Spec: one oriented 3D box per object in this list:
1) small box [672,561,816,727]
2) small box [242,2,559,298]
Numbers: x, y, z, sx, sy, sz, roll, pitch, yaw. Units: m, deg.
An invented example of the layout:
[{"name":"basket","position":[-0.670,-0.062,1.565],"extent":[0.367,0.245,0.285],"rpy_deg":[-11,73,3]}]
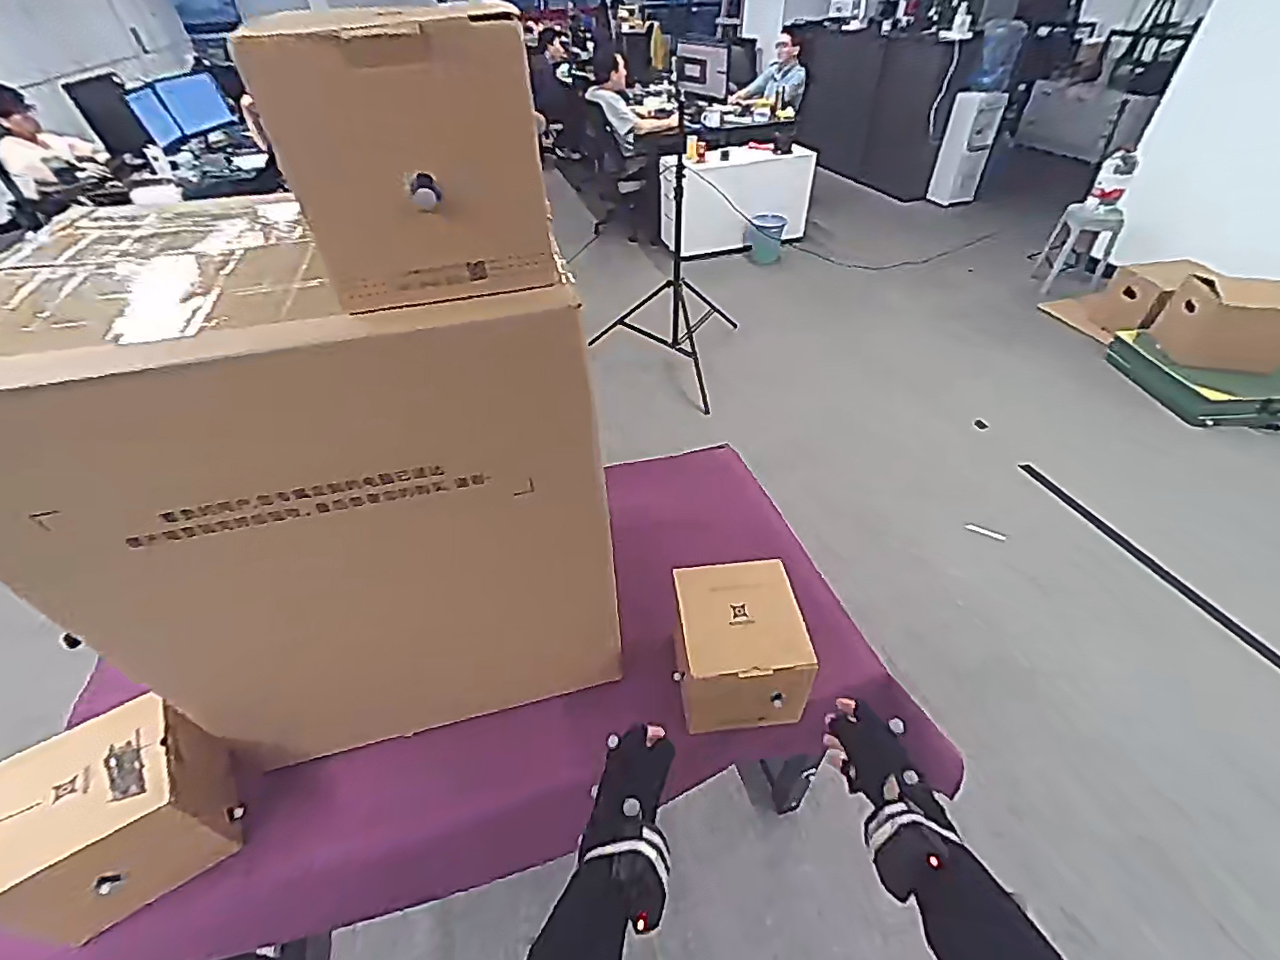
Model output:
[{"name":"small box","position":[0.140,0.245,0.795],"extent":[0.168,0.176,0.179],"rpy_deg":[-5,41,-4]},{"name":"small box","position":[-0.166,-0.258,0.431],"extent":[0.168,0.176,0.179],"rpy_deg":[-12,45,-10]}]
